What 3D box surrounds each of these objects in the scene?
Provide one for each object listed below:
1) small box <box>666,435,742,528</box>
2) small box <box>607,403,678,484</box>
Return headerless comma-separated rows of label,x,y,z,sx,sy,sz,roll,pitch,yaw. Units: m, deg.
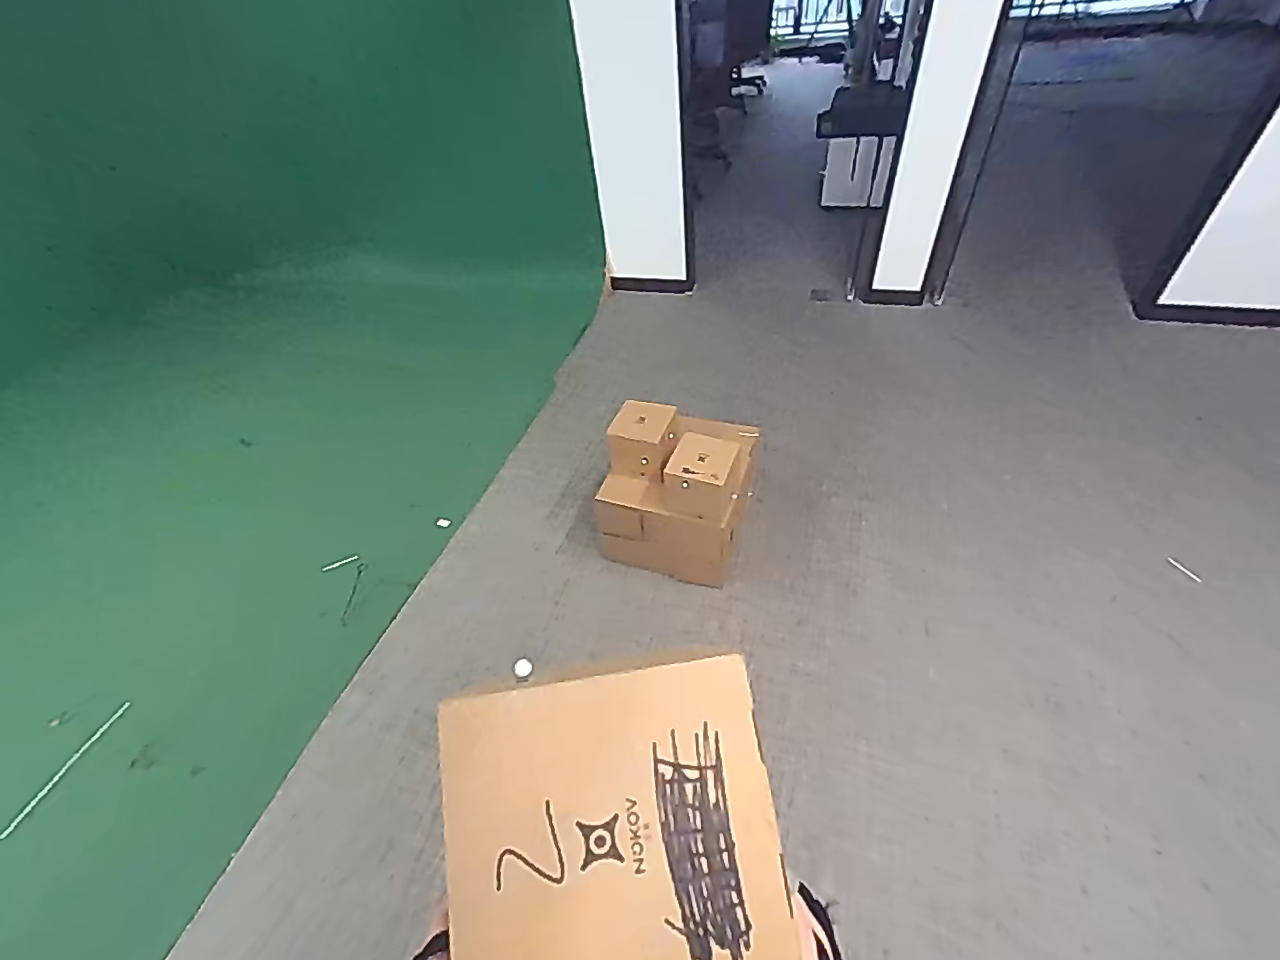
small box,0.179,0.004,1.519,0.168,0.176,0.179,14,47,20
small box,0.016,-0.110,1.662,0.168,0.176,0.179,12,46,19
